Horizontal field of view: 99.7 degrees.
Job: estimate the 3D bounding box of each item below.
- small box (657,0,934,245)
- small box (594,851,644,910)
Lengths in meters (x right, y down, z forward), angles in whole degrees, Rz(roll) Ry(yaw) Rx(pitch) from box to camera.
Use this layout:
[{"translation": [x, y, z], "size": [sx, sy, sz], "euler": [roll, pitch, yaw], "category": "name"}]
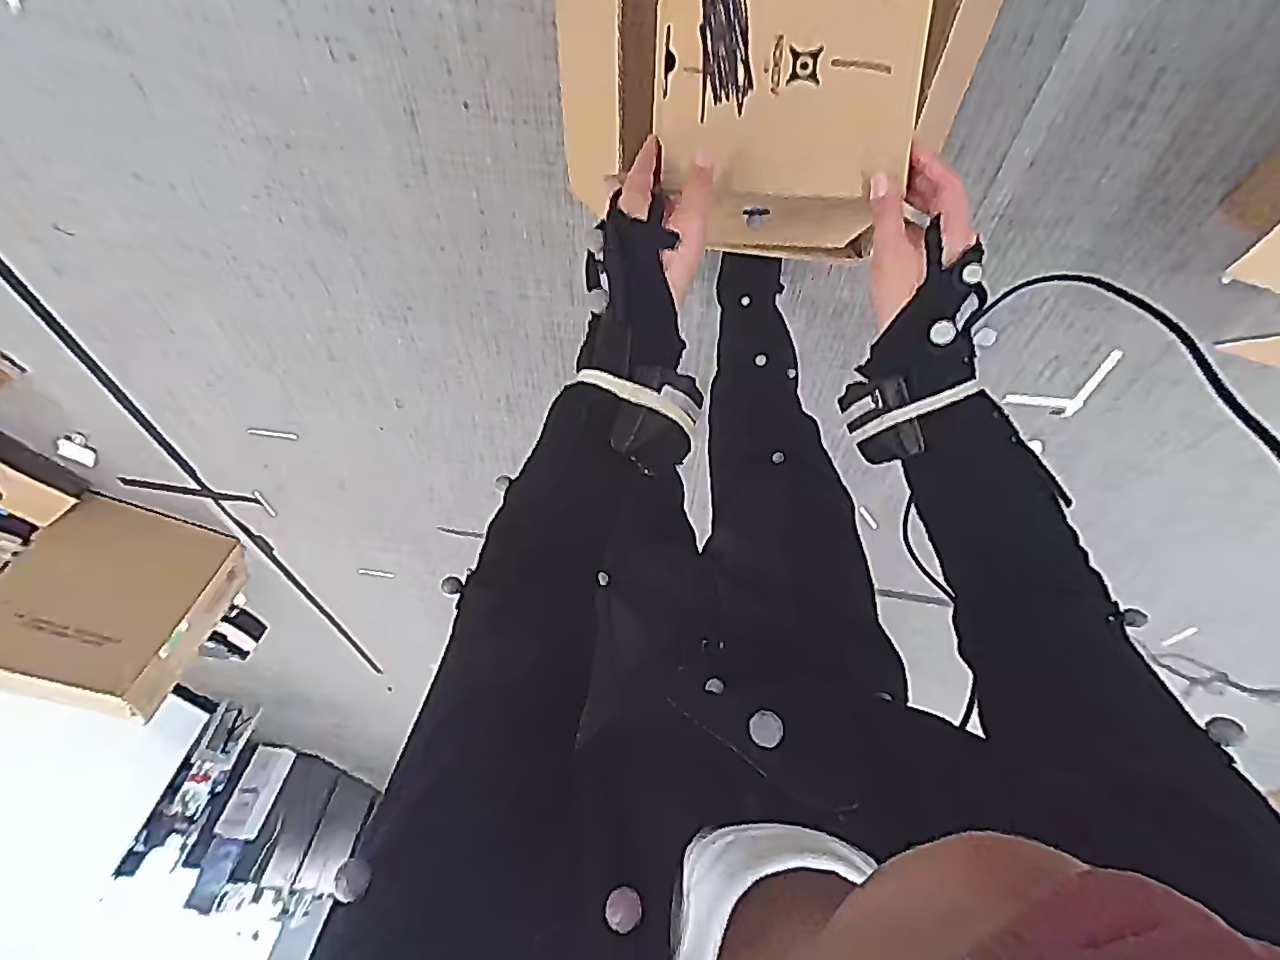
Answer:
[{"translation": [0.110, -0.296, 0.441], "size": [0.179, 0.176, 0.168], "euler": [3, 103, 4], "category": "small box"}, {"translation": [-0.086, 1.620, 2.192], "size": [0.179, 0.176, 0.168], "euler": [7, 139, 3], "category": "small box"}]
